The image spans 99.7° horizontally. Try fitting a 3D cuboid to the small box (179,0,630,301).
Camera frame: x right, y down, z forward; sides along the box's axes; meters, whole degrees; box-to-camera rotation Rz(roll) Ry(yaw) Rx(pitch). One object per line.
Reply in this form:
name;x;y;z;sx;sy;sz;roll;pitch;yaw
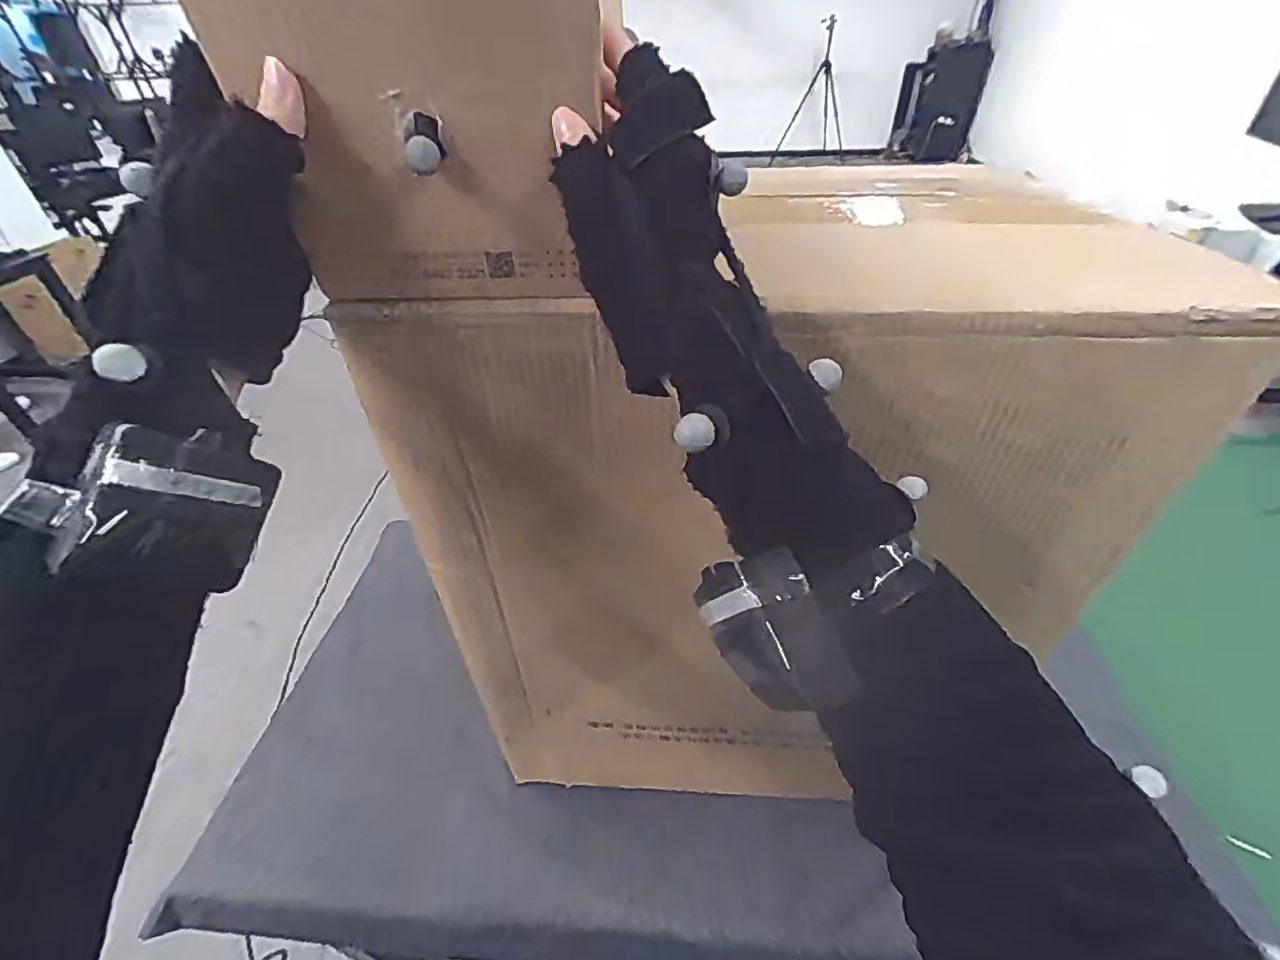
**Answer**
small box;-0.094;-0.216;0.302;0.168;0.176;0.179;1;48;2
